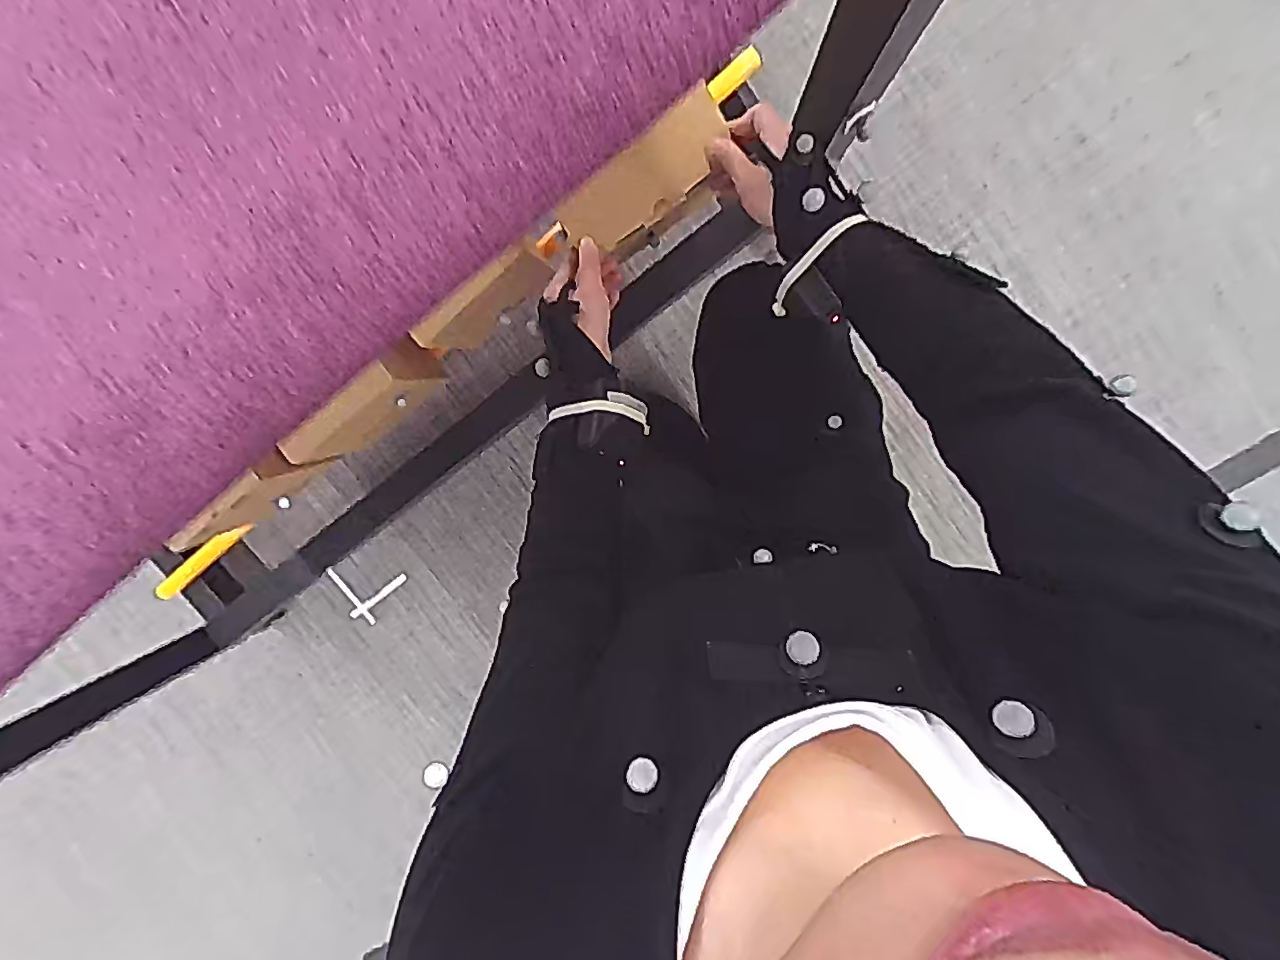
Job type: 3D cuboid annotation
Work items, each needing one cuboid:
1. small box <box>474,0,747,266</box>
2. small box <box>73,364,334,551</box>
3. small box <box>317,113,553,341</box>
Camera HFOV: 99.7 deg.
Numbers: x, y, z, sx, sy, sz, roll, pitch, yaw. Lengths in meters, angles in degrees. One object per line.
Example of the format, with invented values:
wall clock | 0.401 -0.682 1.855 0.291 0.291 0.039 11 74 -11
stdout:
small box | -0.024 -0.329 0.521 0.168 0.176 0.179 -33 106 10
small box | -0.573 -0.038 0.736 0.168 0.176 0.179 -36 98 9
small box | -0.234 -0.286 0.663 0.168 0.176 0.179 -37 98 11
